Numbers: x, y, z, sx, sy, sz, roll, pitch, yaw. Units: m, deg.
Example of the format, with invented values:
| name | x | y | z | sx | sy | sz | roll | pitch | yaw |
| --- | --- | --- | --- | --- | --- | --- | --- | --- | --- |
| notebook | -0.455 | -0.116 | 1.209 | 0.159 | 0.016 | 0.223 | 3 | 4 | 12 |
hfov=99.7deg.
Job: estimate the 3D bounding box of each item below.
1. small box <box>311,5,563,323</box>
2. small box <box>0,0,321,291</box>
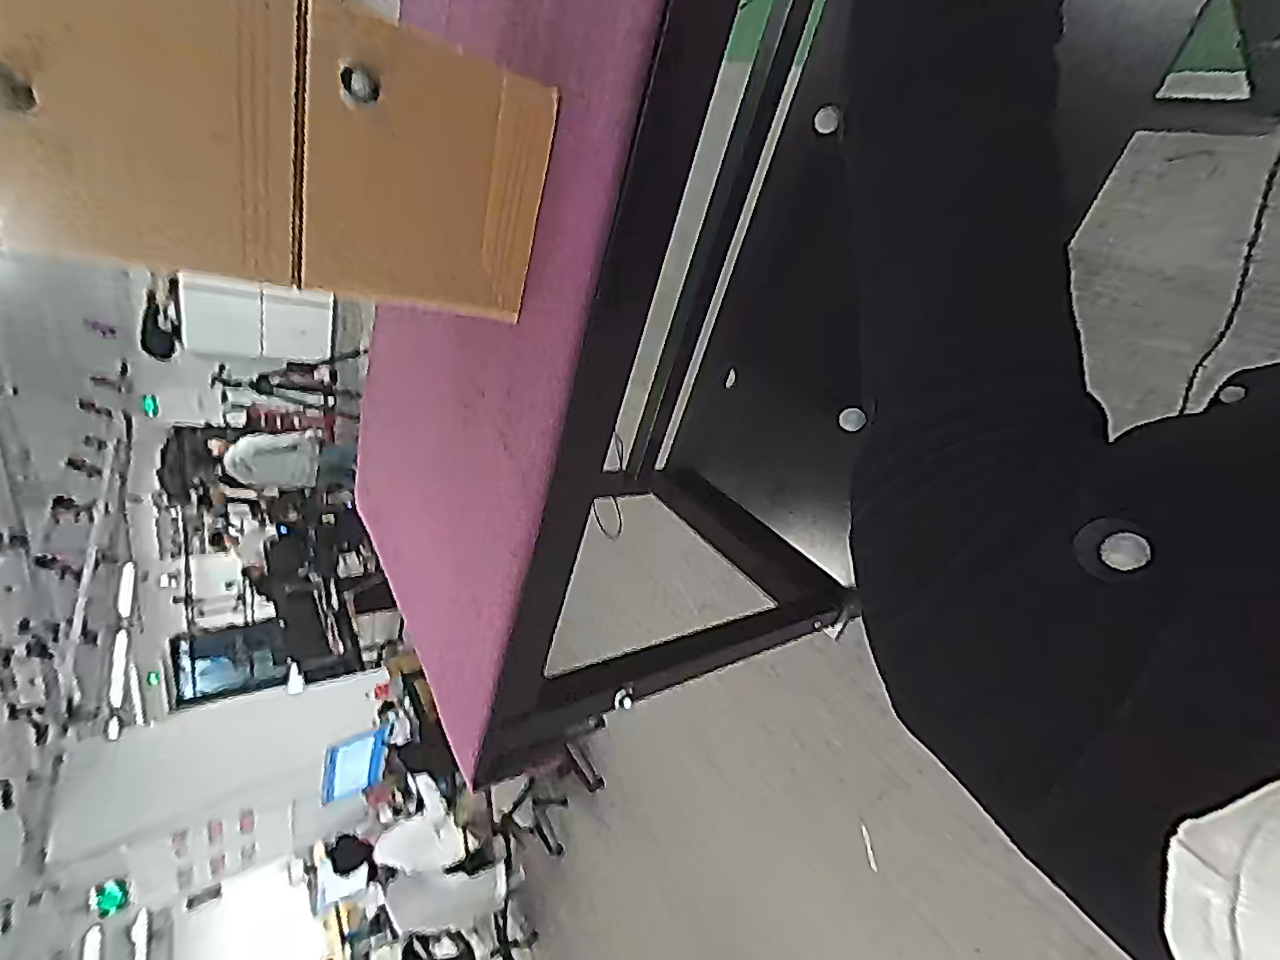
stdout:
| name | x | y | z | sx | sy | sz | roll | pitch | yaw |
| --- | --- | --- | --- | --- | --- | --- | --- | --- | --- |
| small box | -0.181 | -0.244 | 0.452 | 0.168 | 0.176 | 0.179 | 42 | 123 | 43 |
| small box | -0.313 | -0.239 | 0.352 | 0.168 | 0.176 | 0.179 | 43 | 124 | 42 |
